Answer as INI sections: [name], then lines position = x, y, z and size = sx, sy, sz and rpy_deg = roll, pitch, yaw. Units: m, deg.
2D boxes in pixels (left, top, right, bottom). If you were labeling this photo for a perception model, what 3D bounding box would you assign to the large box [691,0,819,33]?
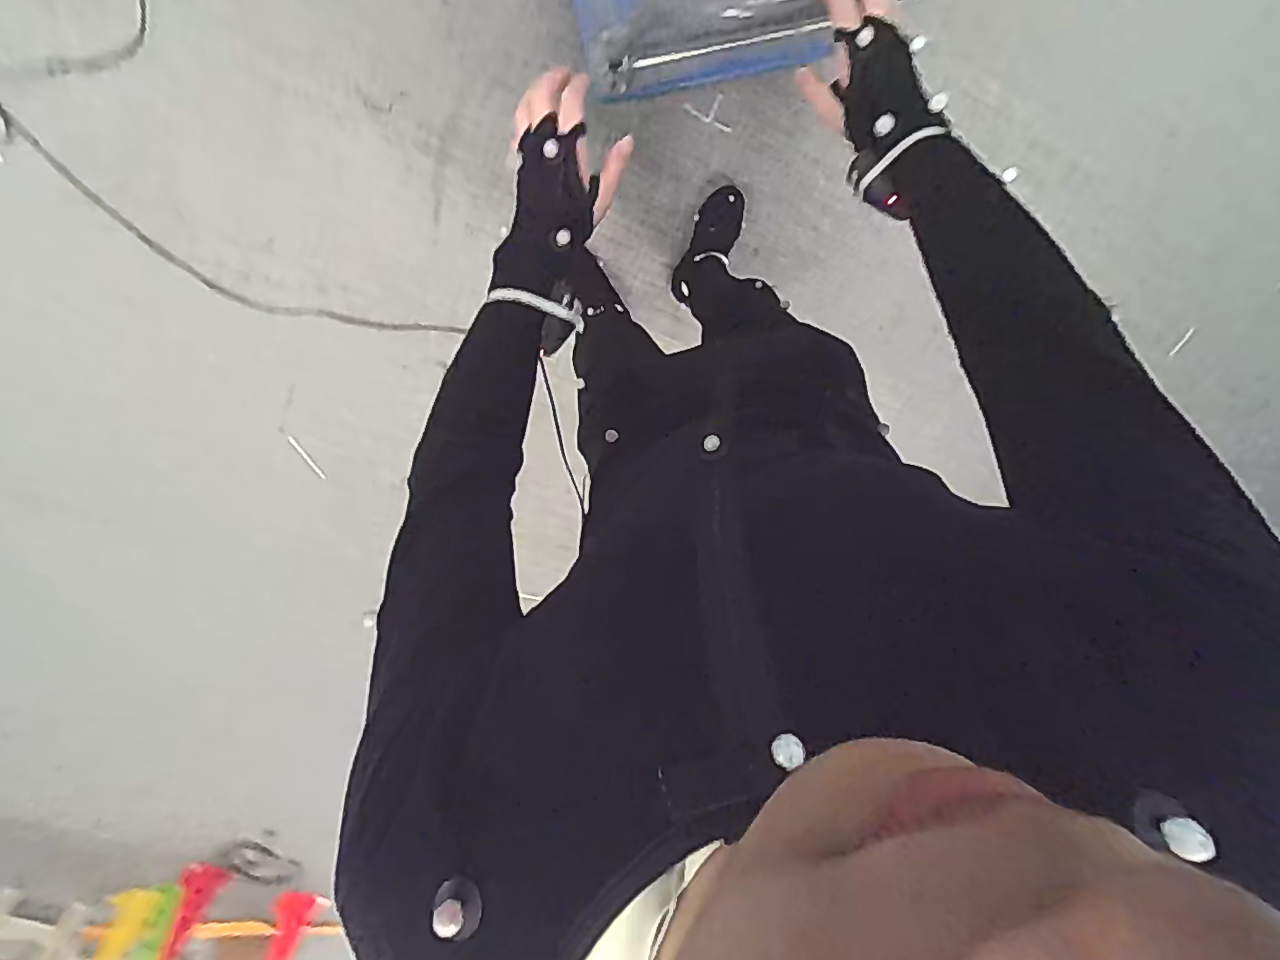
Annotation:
[large box]
position = 0.229, -1.024, 0.851
size = 0.320, 0.320, 0.408
rpy_deg = -15, 118, -2
